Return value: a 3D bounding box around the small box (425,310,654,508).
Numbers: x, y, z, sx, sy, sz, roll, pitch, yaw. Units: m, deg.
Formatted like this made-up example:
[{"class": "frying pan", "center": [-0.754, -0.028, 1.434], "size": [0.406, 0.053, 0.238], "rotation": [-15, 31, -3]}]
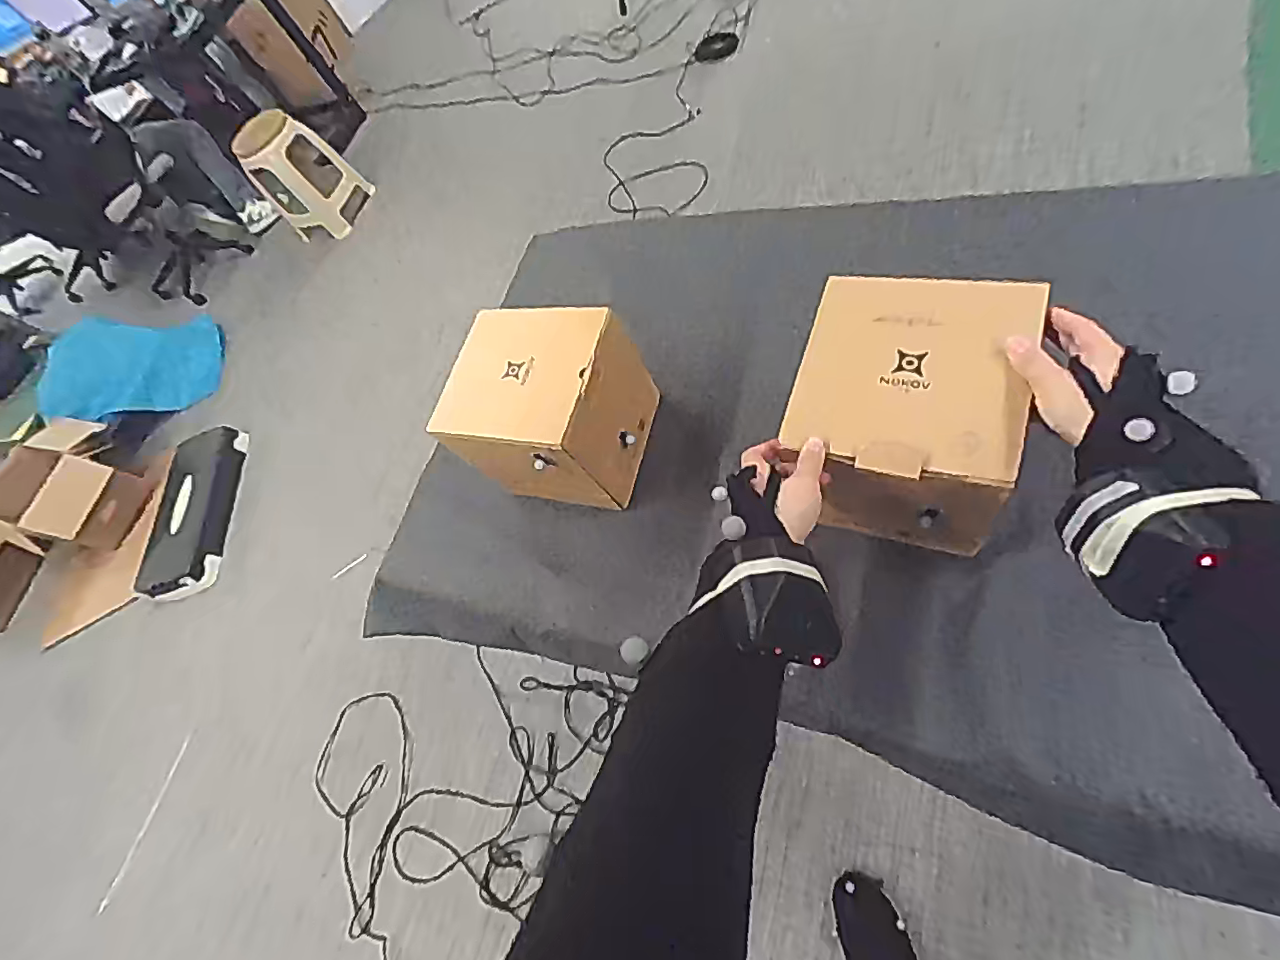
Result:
[{"class": "small box", "center": [-0.104, -0.079, 0.635], "size": [0.179, 0.176, 0.168], "rotation": [8, 68, 23]}]
